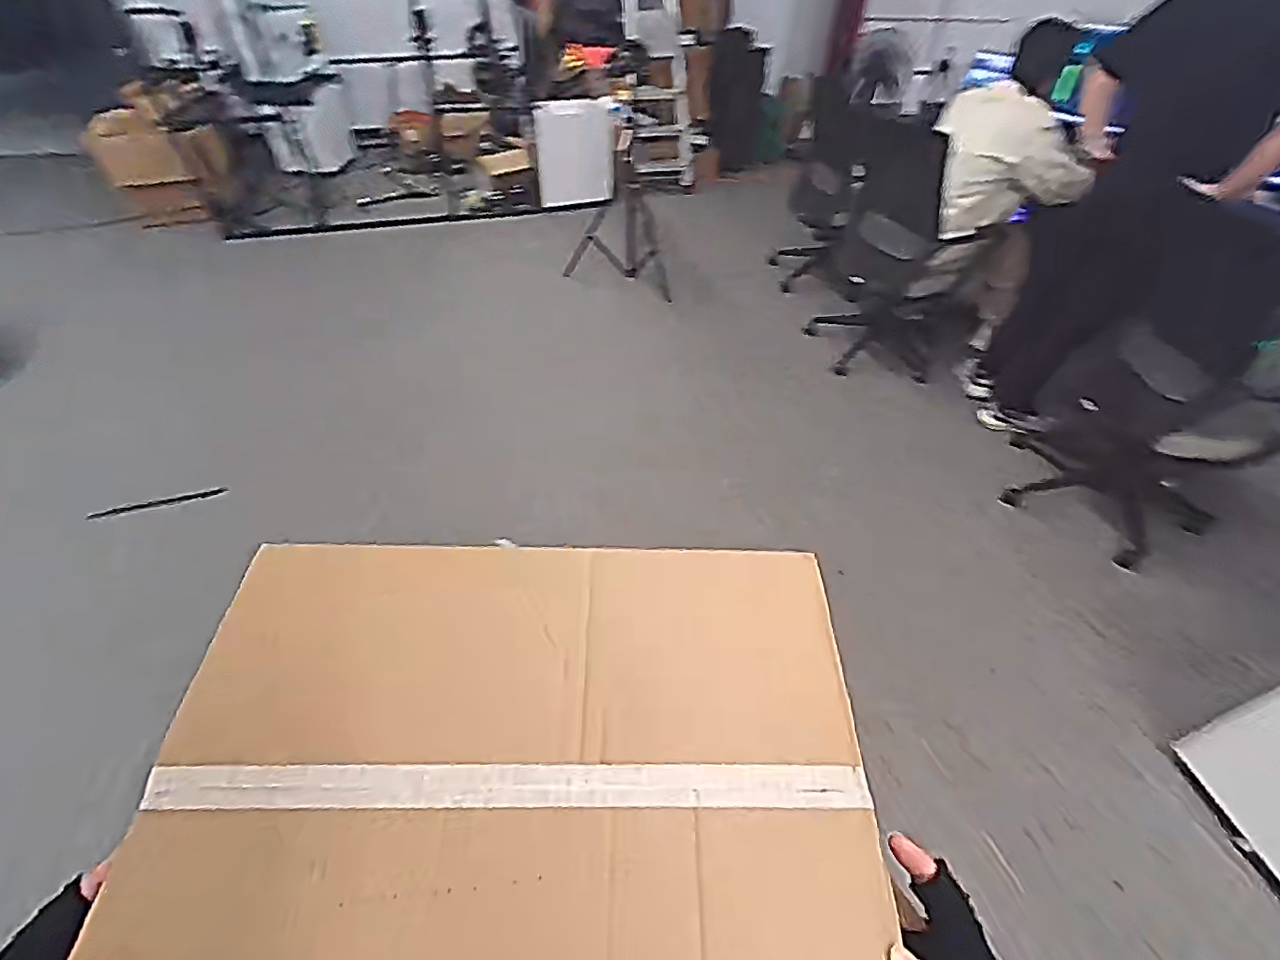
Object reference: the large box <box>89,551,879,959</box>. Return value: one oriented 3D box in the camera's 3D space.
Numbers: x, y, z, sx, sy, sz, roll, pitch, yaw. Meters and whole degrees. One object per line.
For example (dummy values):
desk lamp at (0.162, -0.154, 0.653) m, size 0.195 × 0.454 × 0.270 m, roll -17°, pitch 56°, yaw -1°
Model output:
large box at (-0.082, 0.269, 0.439) m, size 0.408 × 0.320 × 0.320 m, roll 0°, pitch 54°, yaw -2°
